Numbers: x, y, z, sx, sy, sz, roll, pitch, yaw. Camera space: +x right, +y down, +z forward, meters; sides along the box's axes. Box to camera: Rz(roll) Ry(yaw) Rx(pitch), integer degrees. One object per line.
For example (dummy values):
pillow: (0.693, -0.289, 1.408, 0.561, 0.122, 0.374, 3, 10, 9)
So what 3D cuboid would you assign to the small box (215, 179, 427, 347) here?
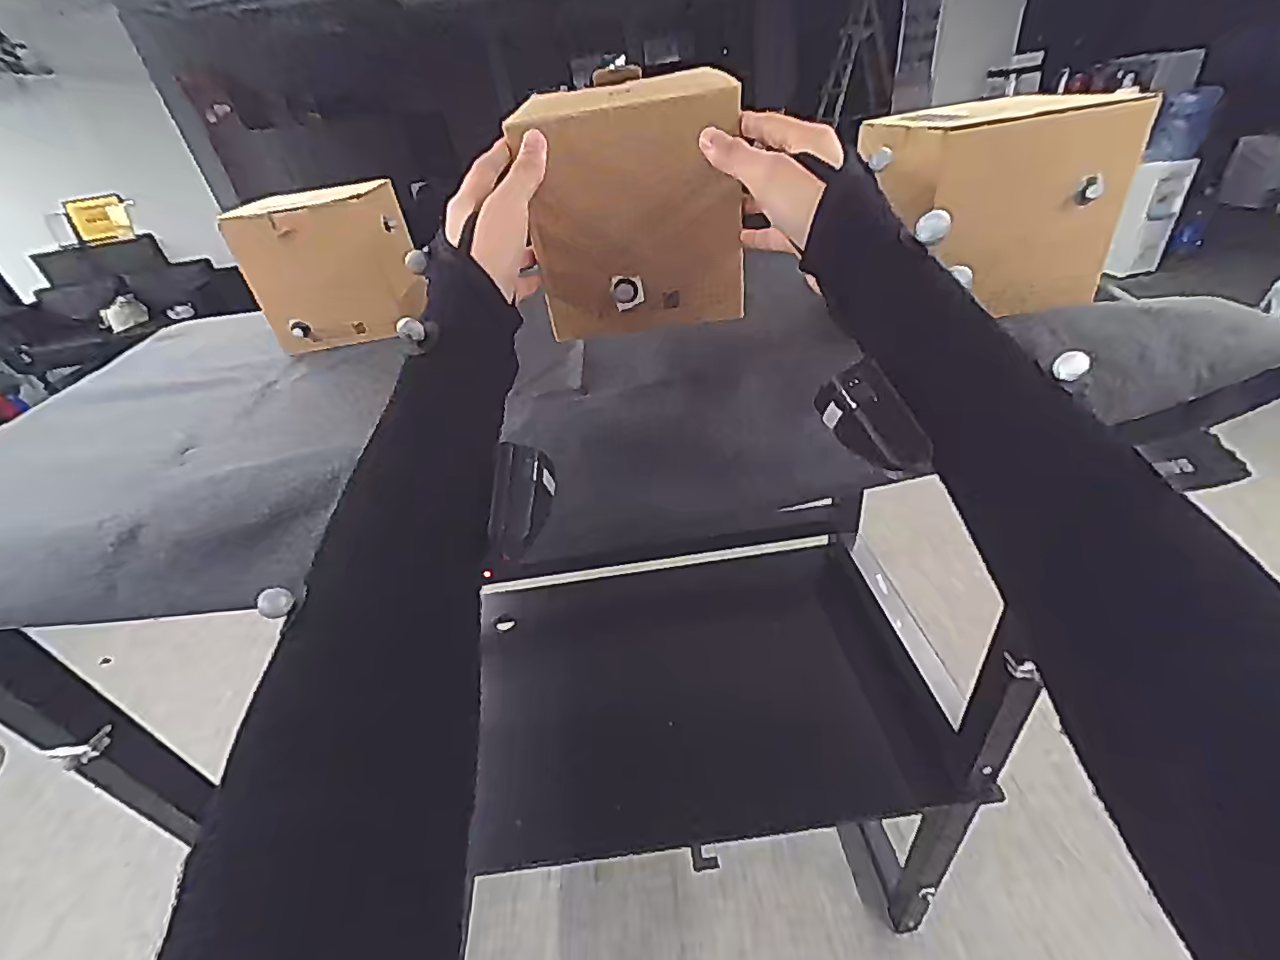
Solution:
small box: (-0.406, -0.290, 0.730, 0.168, 0.176, 0.179, -11, 35, -3)

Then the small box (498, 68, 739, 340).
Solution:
small box: (-0.008, -0.242, 0.475, 0.168, 0.176, 0.179, -7, 40, 4)
